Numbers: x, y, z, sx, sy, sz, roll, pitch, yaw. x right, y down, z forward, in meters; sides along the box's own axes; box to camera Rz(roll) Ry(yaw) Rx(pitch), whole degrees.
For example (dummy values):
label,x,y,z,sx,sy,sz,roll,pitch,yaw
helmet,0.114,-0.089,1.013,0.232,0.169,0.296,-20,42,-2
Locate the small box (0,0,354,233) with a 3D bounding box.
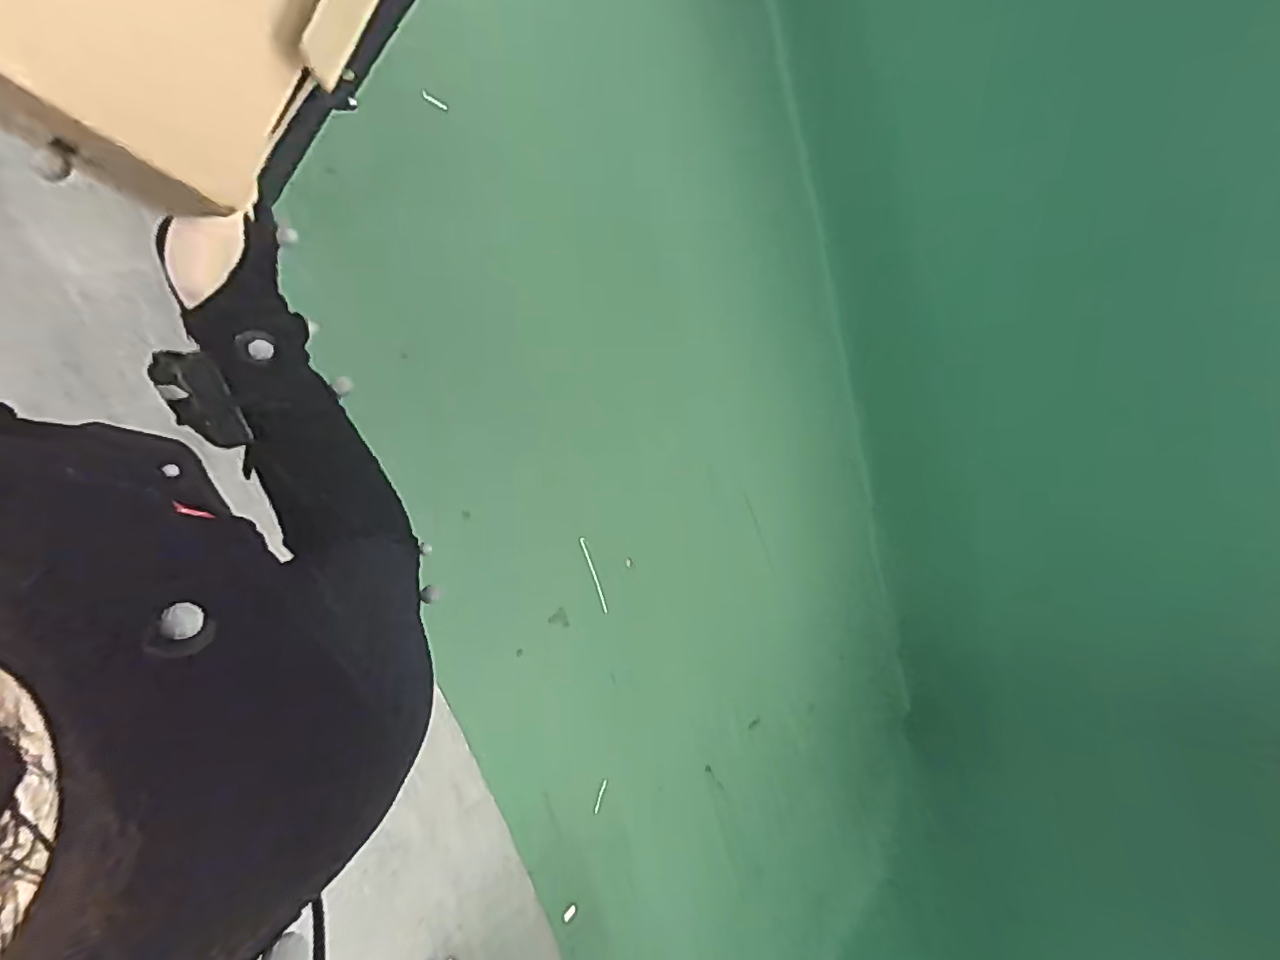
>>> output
label,x,y,z,sx,sy,sz,roll,pitch,yaw
small box,-0.229,-0.217,0.195,0.179,0.176,0.168,27,86,-50
